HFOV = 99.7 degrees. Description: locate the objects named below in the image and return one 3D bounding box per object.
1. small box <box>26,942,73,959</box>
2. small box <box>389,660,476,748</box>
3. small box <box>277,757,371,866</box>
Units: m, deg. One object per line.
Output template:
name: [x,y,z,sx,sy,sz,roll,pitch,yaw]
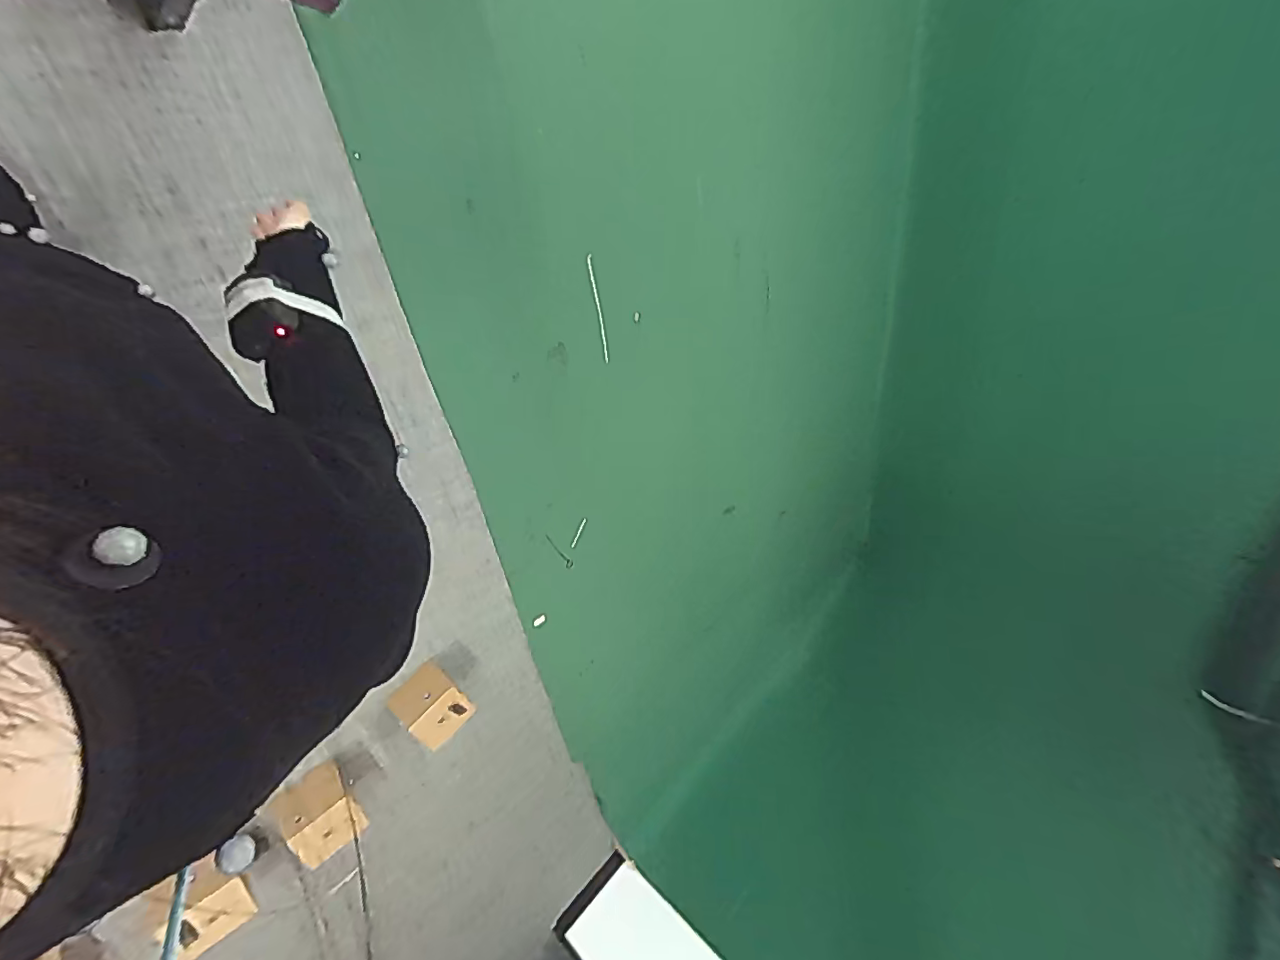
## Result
small box: [-1.395,1.214,1.218,0.179,0.176,0.168,-16,118,-41]
small box: [-0.680,0.727,1.772,0.179,0.176,0.168,-44,134,-25]
small box: [-0.940,0.974,1.599,0.179,0.176,0.168,-33,129,-34]
